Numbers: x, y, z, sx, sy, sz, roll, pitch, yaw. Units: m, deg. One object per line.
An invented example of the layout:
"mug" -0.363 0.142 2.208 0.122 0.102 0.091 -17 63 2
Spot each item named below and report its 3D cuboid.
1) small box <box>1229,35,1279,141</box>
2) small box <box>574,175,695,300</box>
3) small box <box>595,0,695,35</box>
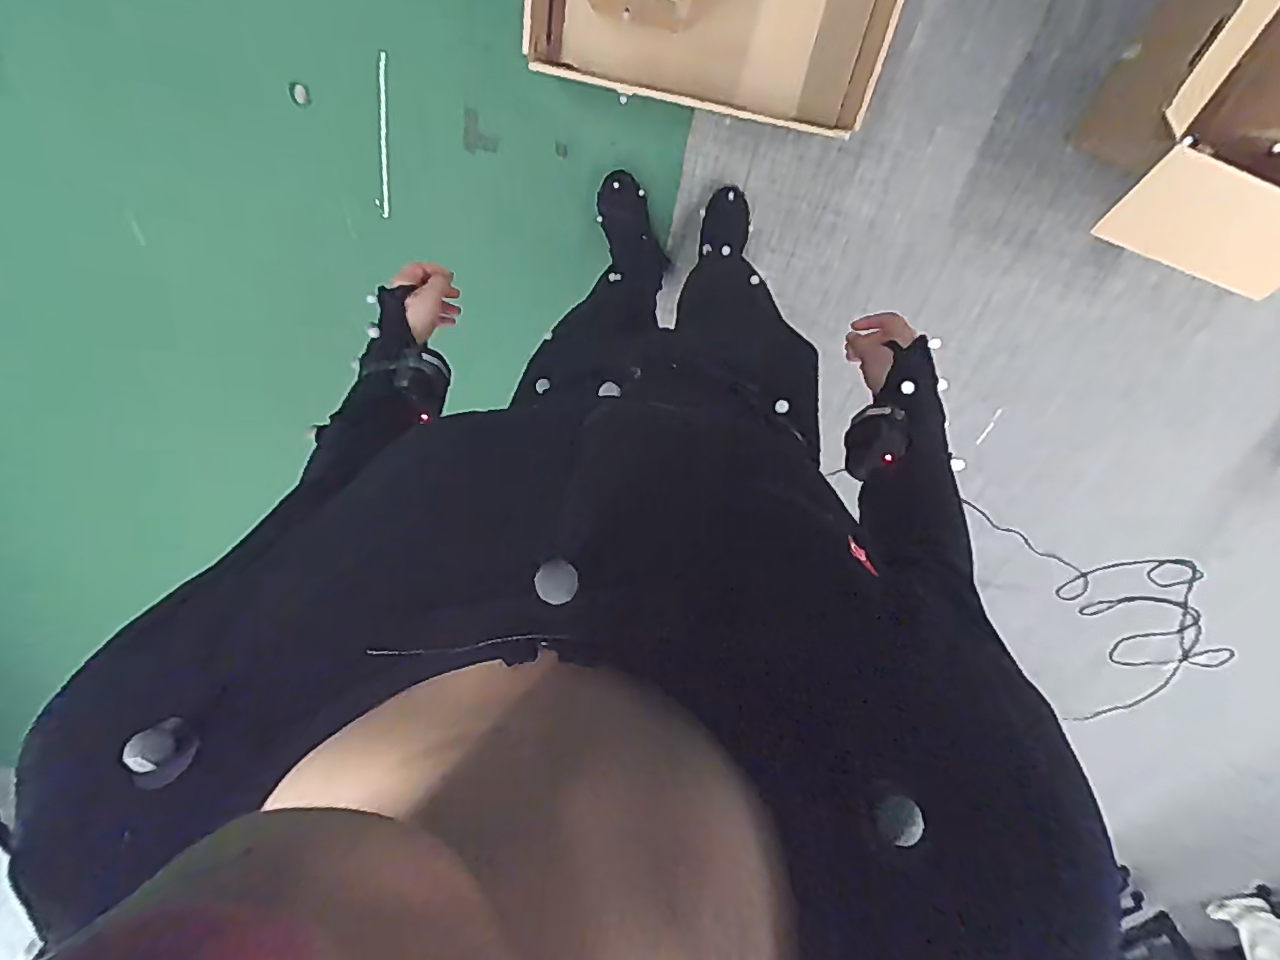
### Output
"small box" 1.110 -0.638 0.841 0.168 0.176 0.179 12 123 -1
"small box" -0.006 -0.526 1.179 0.176 0.168 0.179 21 103 -45
"small box" 0.017 -0.882 0.911 0.179 0.176 0.168 11 122 -4
